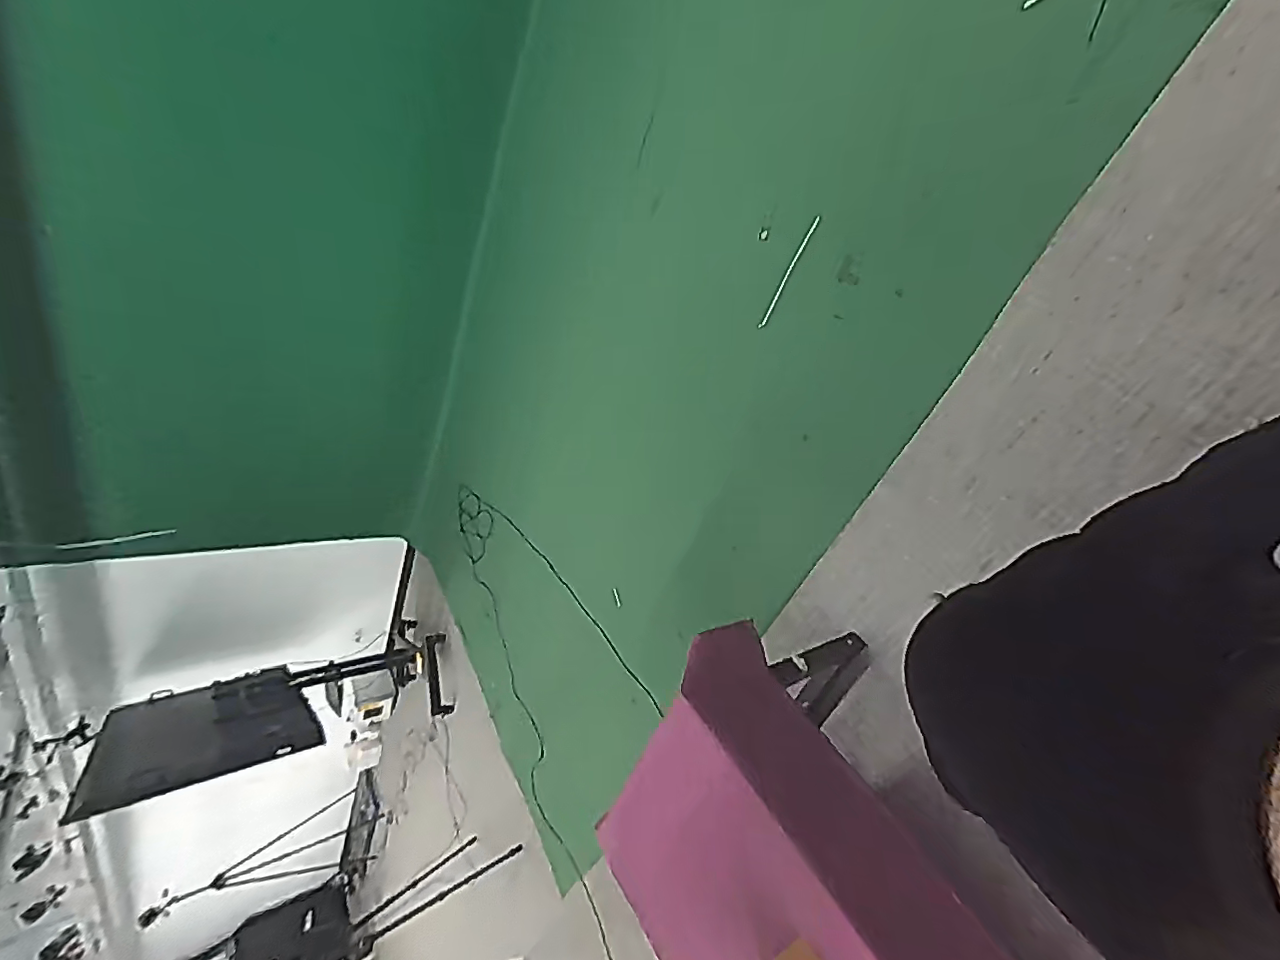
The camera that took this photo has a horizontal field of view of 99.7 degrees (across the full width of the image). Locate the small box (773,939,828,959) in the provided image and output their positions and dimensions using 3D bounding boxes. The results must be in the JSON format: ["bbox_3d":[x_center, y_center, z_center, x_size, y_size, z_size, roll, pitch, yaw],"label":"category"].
[{"bbox_3d":[0.255,0.914,0.894,0.179,0.176,0.168,46,126,39],"label":"small box"}]
